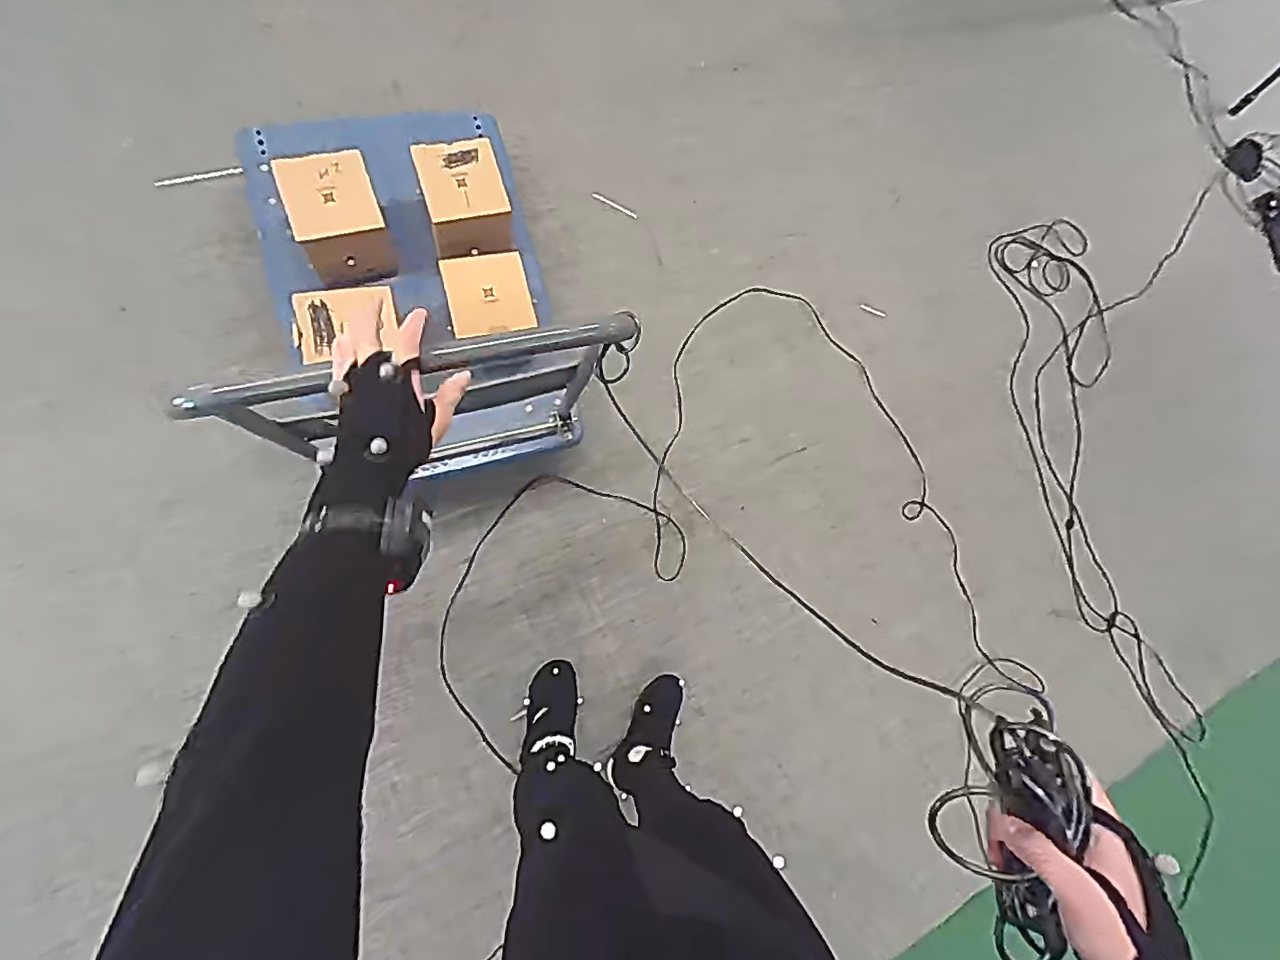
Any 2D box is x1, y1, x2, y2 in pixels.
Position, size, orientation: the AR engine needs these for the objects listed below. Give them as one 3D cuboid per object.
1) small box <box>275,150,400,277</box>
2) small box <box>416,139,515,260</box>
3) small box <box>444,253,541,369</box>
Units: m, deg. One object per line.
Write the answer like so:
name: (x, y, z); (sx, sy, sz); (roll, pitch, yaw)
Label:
small box: (-0.620, -0.545, 1.130); (0.168, 0.176, 0.179); (-18, 85, -16)
small box: (-0.382, -0.612, 1.199); (0.168, 0.176, 0.179); (-16, 86, -15)
small box: (-0.321, -0.363, 1.176); (0.168, 0.176, 0.179); (-13, 85, -15)
